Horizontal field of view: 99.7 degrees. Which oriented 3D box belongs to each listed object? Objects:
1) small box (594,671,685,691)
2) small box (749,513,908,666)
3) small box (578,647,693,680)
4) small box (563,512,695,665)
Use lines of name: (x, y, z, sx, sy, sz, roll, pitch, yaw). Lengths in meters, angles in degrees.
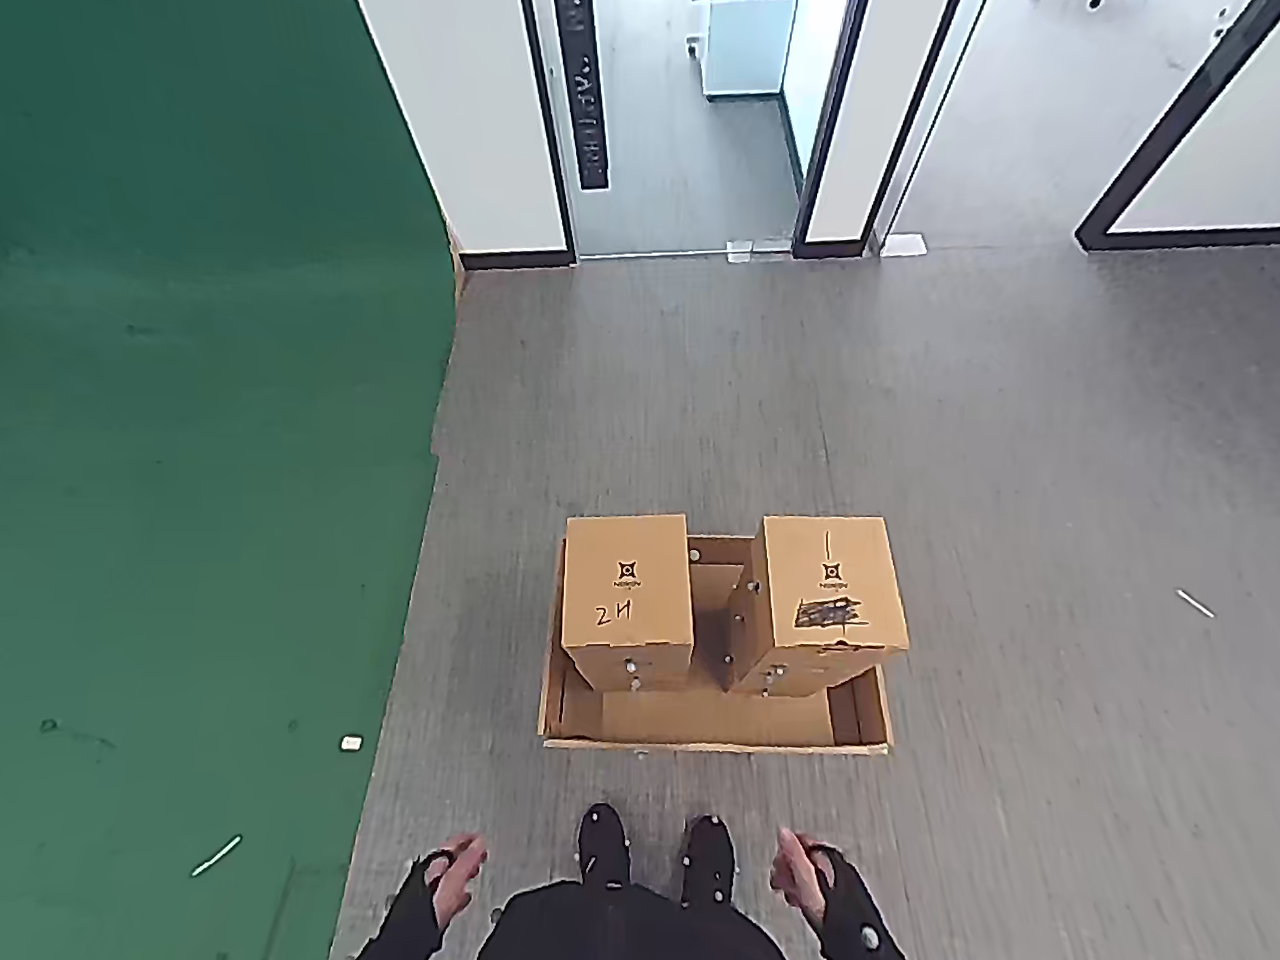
small box: (-0.003, 0.319, 1.063, 0.179, 0.176, 0.168, 0, 62, 1)
small box: (0.250, 0.161, 0.764, 0.168, 0.176, 0.179, 1, 61, 2)
small box: (-0.007, 0.242, 0.919, 0.179, 0.176, 0.168, -2, 62, 0)
small box: (-0.012, 0.160, 0.775, 0.168, 0.176, 0.179, -2, 62, 2)
